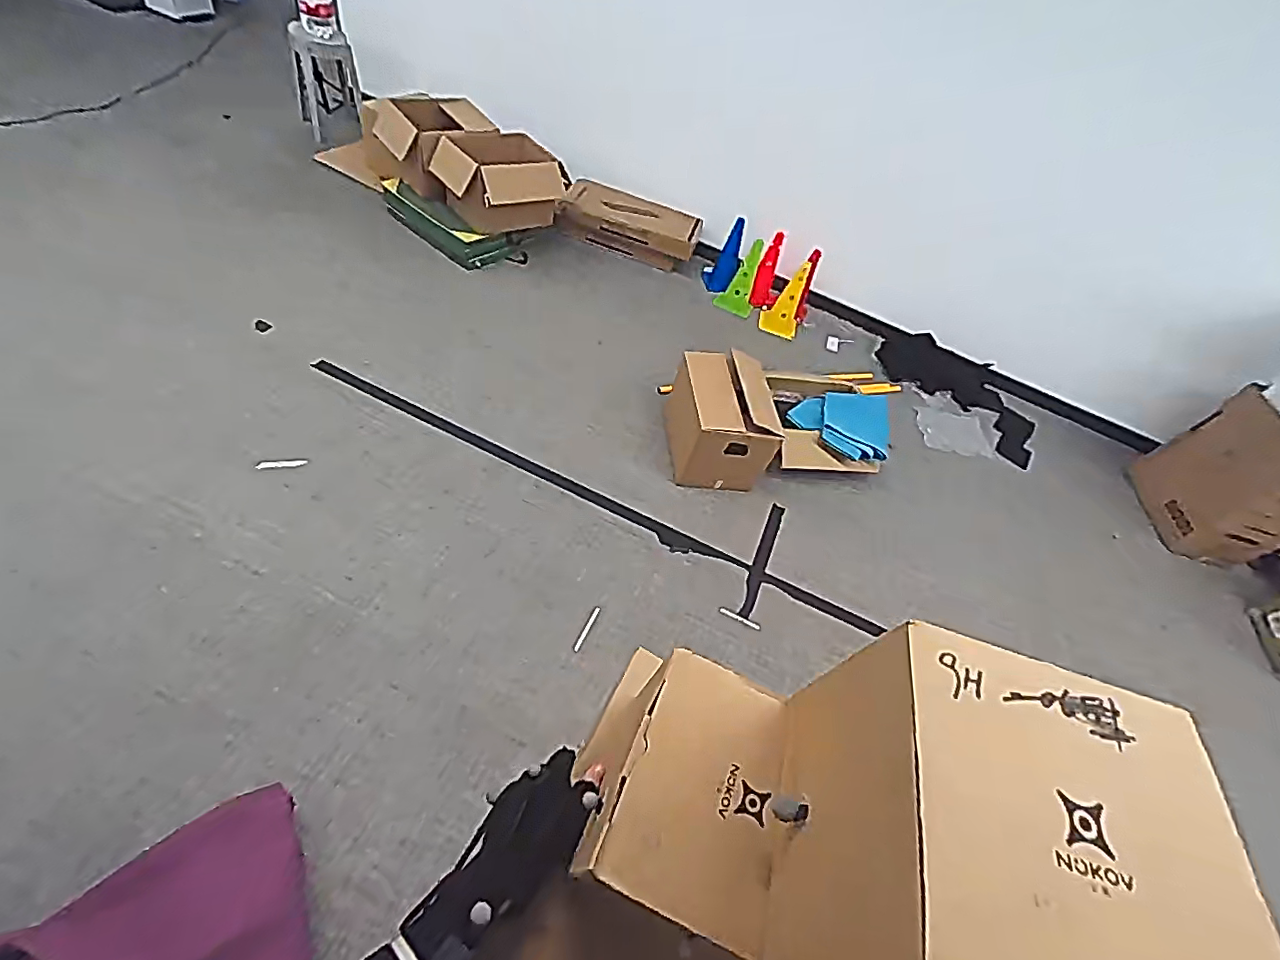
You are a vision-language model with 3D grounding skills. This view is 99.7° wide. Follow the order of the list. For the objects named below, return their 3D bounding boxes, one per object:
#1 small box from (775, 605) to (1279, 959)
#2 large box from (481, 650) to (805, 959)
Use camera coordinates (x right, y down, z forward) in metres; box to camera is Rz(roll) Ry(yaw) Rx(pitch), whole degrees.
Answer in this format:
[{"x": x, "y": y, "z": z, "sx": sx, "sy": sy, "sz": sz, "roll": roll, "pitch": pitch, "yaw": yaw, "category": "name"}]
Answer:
[{"x": 0.191, "y": 0.207, "z": 0.318, "sx": 0.168, "sy": 0.176, "sz": 0.179, "roll": 19, "pitch": 53, "yaw": 1, "category": "small box"}, {"x": 0.076, "y": 0.466, "z": 0.613, "sx": 0.408, "sy": 0.320, "sz": 0.320, "roll": 28, "pitch": 53, "yaw": 7, "category": "large box"}]
